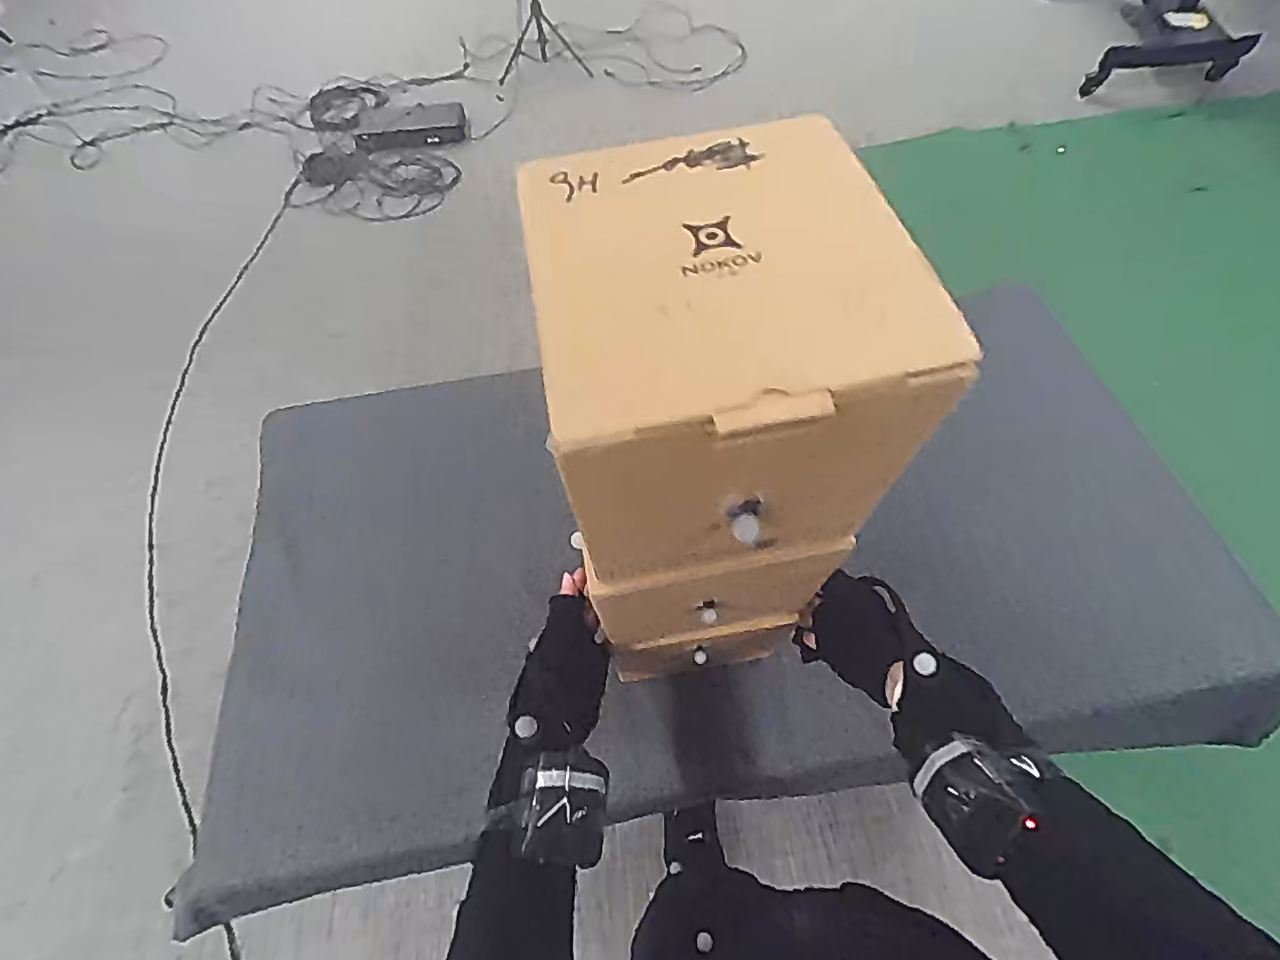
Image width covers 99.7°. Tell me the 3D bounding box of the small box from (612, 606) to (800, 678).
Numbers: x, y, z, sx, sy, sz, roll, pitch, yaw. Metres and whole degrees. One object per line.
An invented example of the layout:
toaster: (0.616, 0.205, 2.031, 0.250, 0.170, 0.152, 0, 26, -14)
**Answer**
small box: (0.051, 0.110, 0.595, 0.179, 0.176, 0.168, -9, 63, -4)

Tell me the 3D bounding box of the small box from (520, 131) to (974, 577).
small box: (0.038, -0.054, 0.310, 0.168, 0.176, 0.179, -11, 63, -3)

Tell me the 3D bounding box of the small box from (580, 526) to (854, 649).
small box: (0.044, 0.031, 0.451, 0.179, 0.176, 0.168, -12, 63, -2)
